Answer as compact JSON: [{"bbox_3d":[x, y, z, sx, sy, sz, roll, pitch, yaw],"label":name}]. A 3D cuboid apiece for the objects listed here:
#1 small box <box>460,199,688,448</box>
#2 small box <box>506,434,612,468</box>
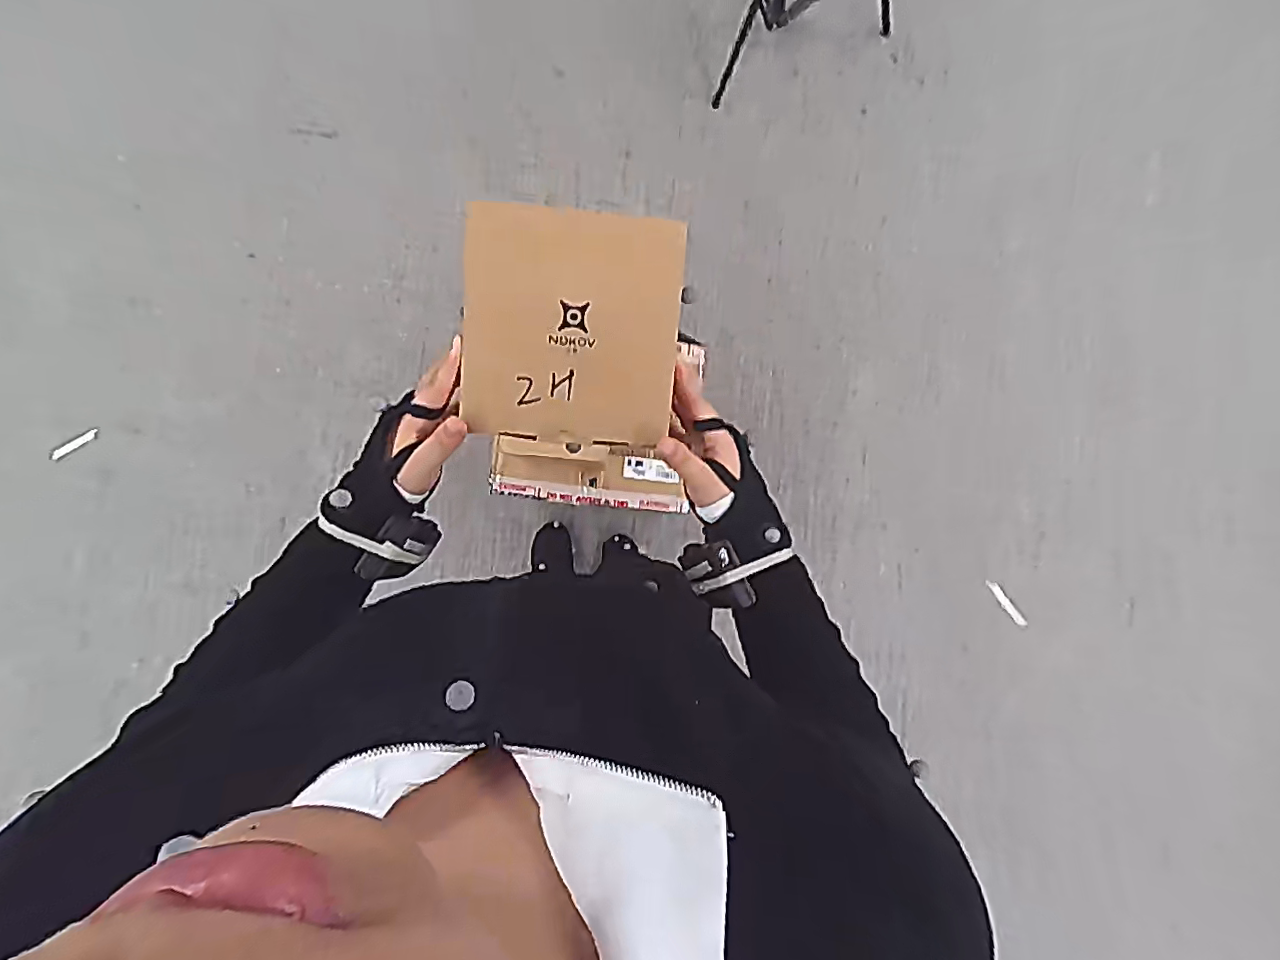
[{"bbox_3d":[-0.056,-0.126,0.496,0.168,0.176,0.179,5,96,-3],"label":"small box"},{"bbox_3d":[-0.129,-0.117,0.948,0.168,0.176,0.179,5,89,-1],"label":"small box"}]
